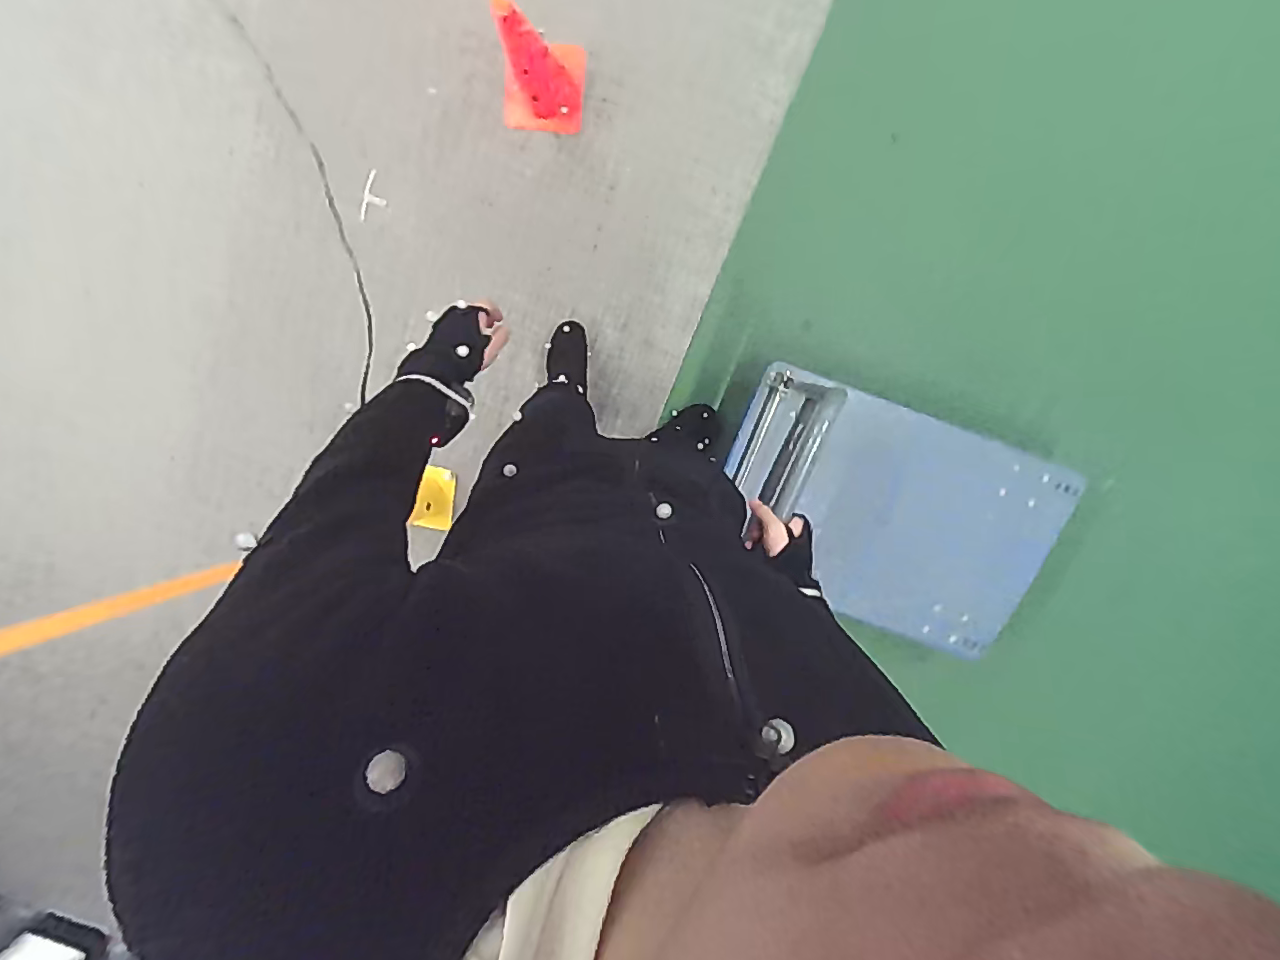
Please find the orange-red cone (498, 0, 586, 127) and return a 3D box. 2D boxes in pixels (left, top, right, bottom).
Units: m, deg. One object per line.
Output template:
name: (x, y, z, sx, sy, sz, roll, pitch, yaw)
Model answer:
orange-red cone: (-0.253, -0.987, 1.219, 0.198, 0.360, 0.199, 8, 103, 2)
